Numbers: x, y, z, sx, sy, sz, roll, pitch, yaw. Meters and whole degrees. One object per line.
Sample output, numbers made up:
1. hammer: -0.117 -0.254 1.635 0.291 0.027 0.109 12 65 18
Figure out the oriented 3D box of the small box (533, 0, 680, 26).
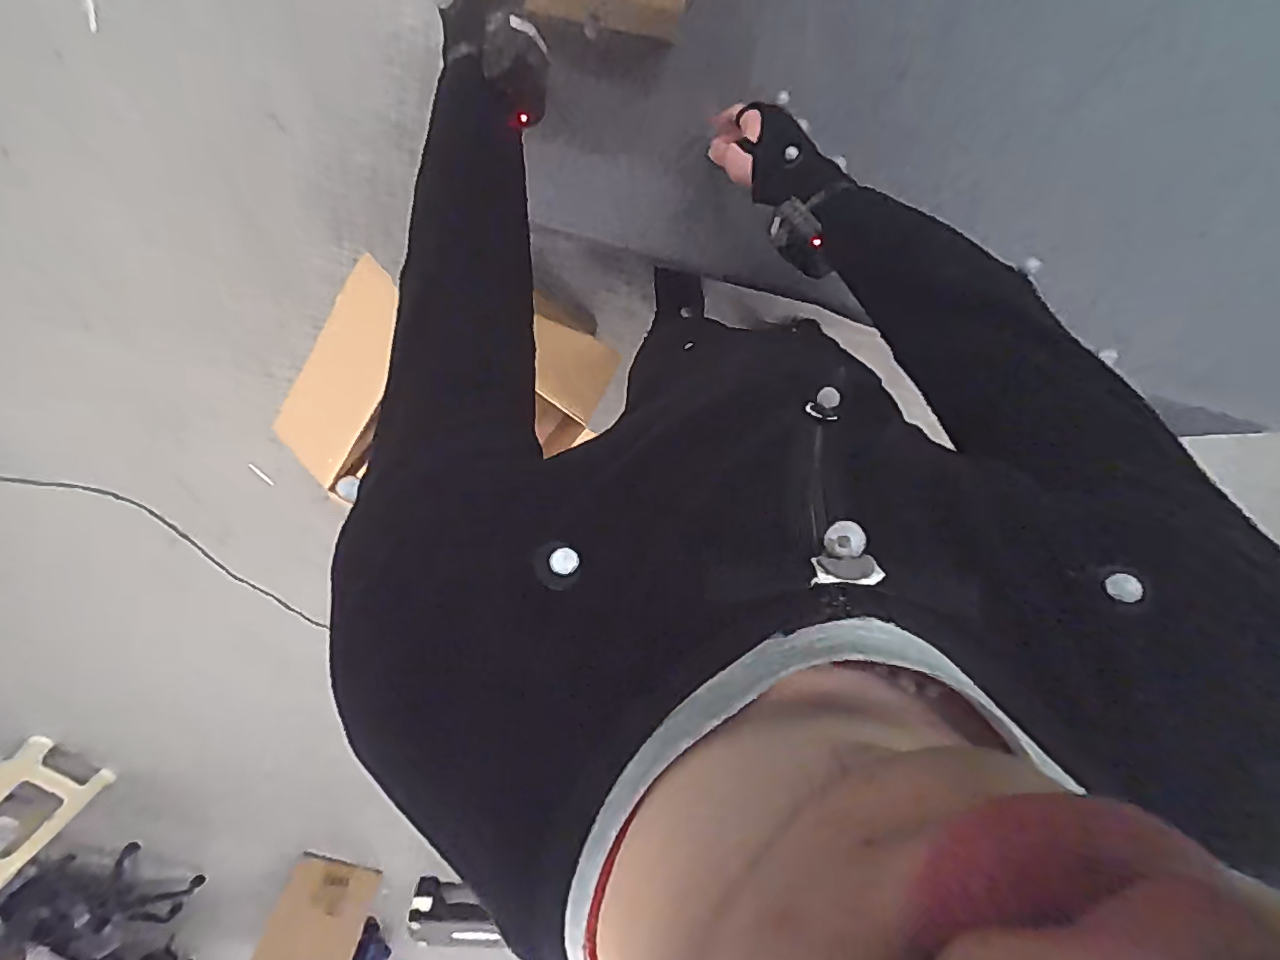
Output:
1. small box: -0.037 -0.520 0.461 0.179 0.176 0.168 8 119 -6
